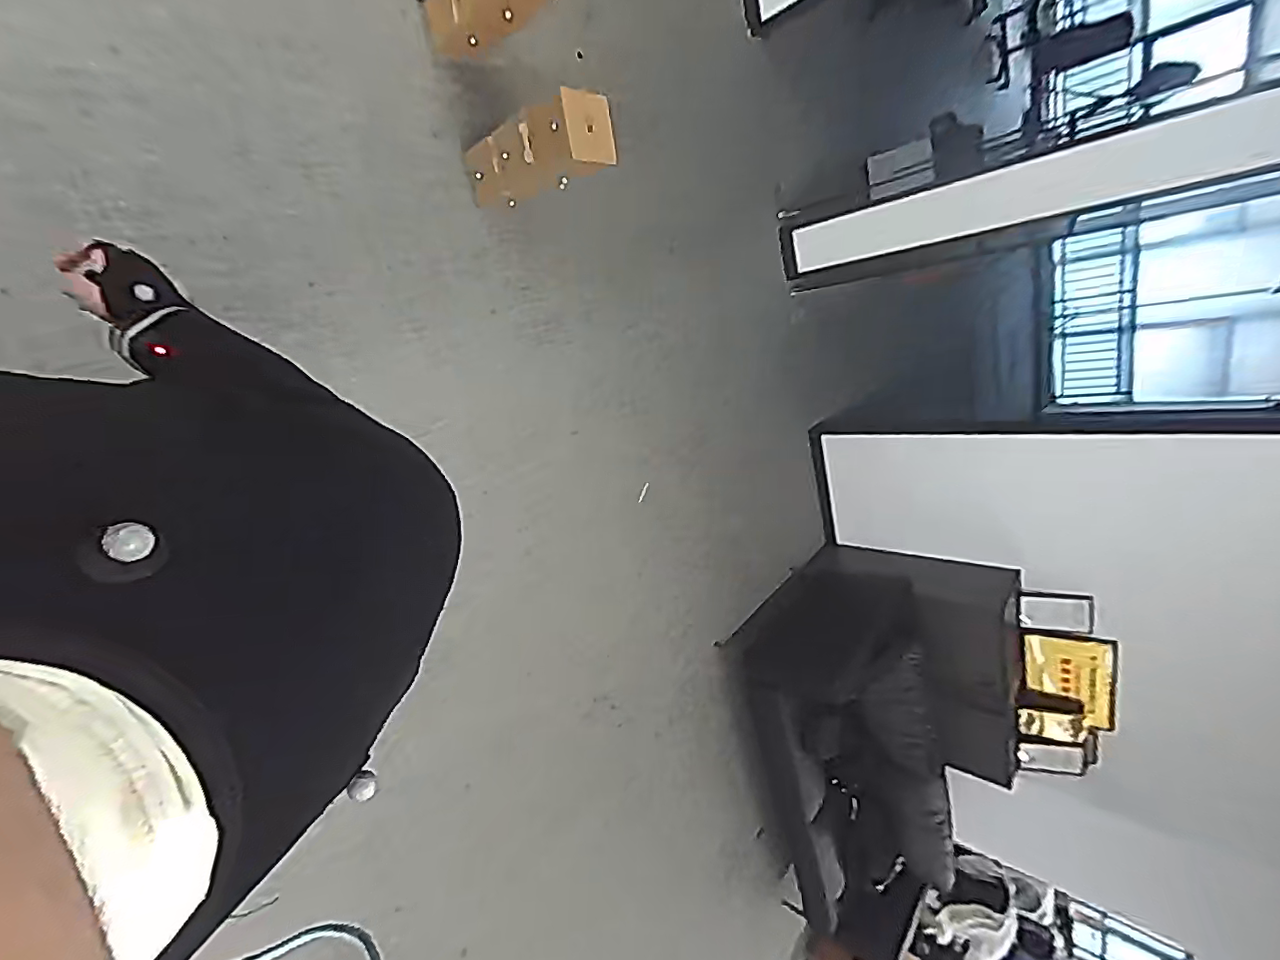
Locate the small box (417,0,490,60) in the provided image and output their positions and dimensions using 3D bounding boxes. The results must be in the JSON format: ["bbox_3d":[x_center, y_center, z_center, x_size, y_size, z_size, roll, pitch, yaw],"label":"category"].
[{"bbox_3d":[-0.542,-1.393,1.606,0.179,0.176,0.168,-25,111,-43],"label":"small box"}]

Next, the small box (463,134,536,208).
[{"bbox_3d":[-0.448,-0.987,1.738,0.179,0.176,0.168,-27,113,-40],"label":"small box"}]

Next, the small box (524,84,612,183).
[{"bbox_3d":[-0.206,-0.963,1.518,0.168,0.176,0.179,-22,109,-42],"label":"small box"}]

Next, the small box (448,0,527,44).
[{"bbox_3d":[-0.419,-1.392,1.510,0.168,0.176,0.179,19,79,-43],"label":"small box"}]

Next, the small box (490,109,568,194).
[{"bbox_3d":[-0.323,-0.980,1.630,0.179,0.176,0.168,-22,108,-43],"label":"small box"}]
